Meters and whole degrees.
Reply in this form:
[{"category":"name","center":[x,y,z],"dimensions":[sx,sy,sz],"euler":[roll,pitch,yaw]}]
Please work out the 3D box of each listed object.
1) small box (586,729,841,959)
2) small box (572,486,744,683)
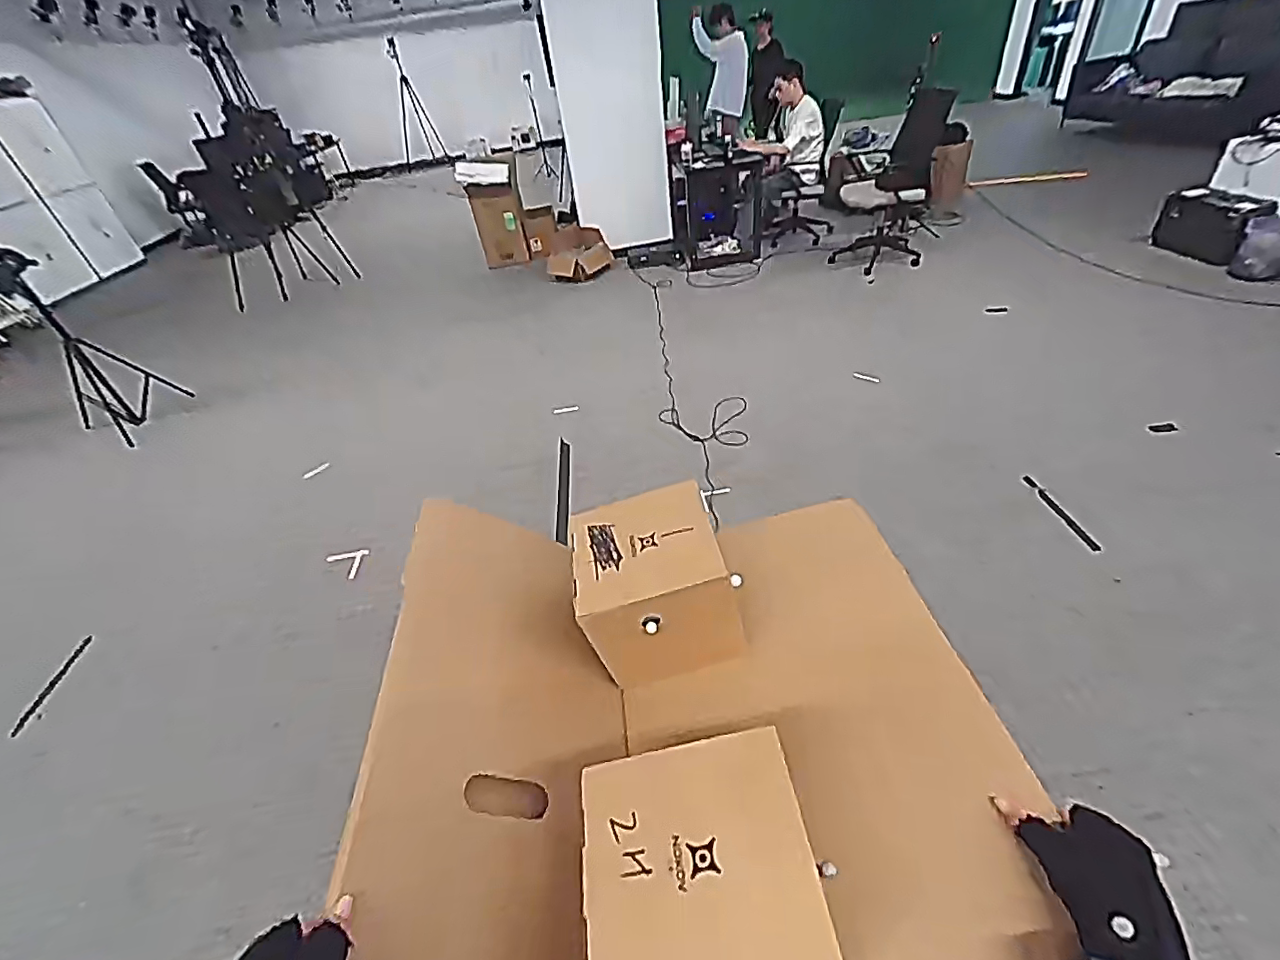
[{"category":"small box","center":[0.062,0.345,0.468],"dimensions":[0.179,0.176,0.168],"euler":[-16,40,7]},{"category":"small box","center":[0.023,0.141,0.710],"dimensions":[0.179,0.176,0.168],"euler":[-17,41,4]}]
